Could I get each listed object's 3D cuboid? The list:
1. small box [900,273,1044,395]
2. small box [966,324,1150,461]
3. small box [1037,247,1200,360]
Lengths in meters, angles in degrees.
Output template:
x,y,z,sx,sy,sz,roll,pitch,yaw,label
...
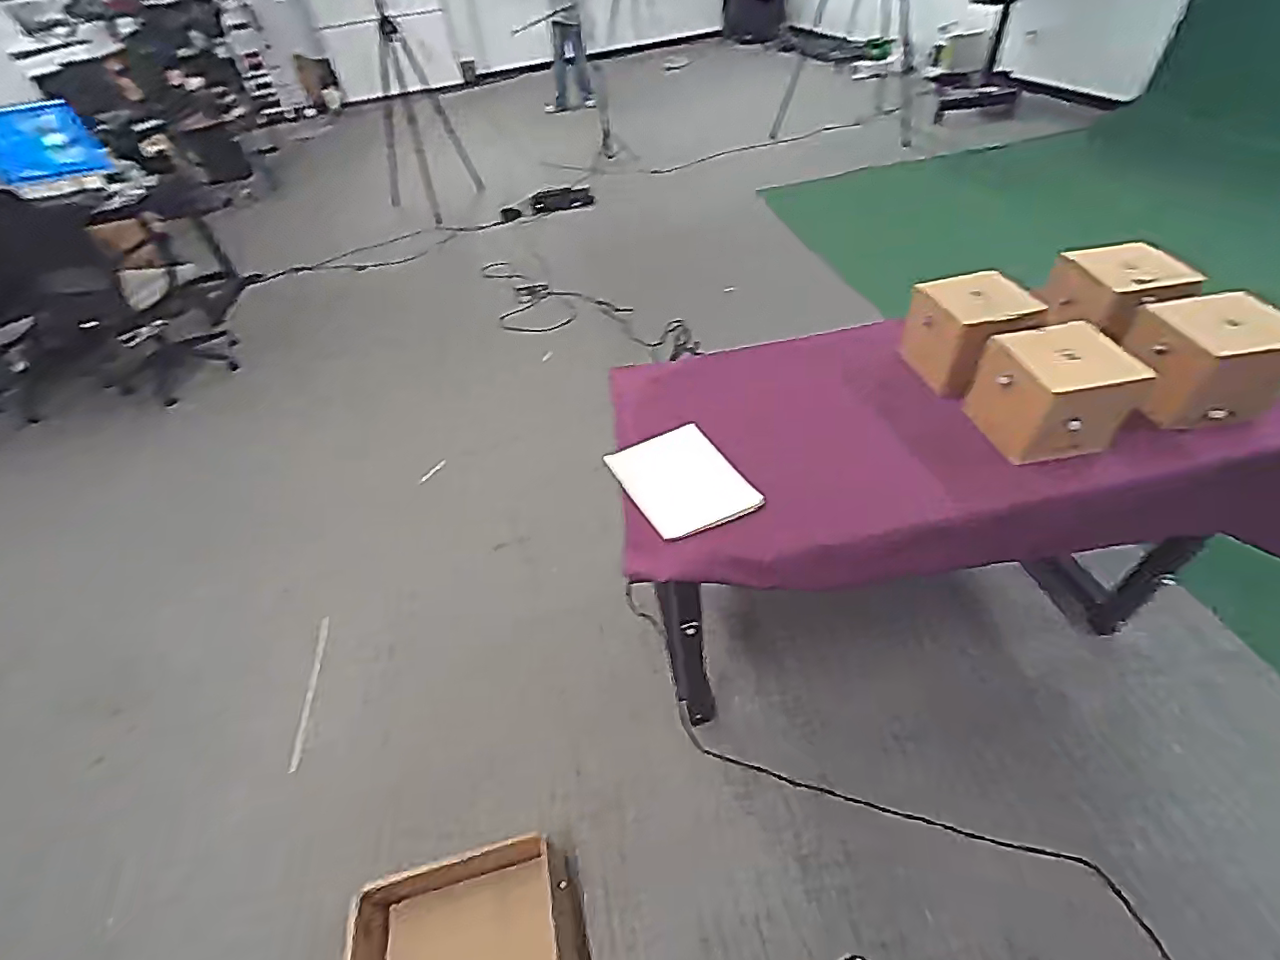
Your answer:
x,y,z,sx,sy,sz,roll,pitch,yaw,label
0.671,-0.302,1.122,0.168,0.176,0.179,-11,46,-2,small box
0.727,-0.149,0.968,0.168,0.176,0.179,-9,46,0,small box
0.978,-0.364,1.134,0.168,0.176,0.179,-8,45,2,small box
